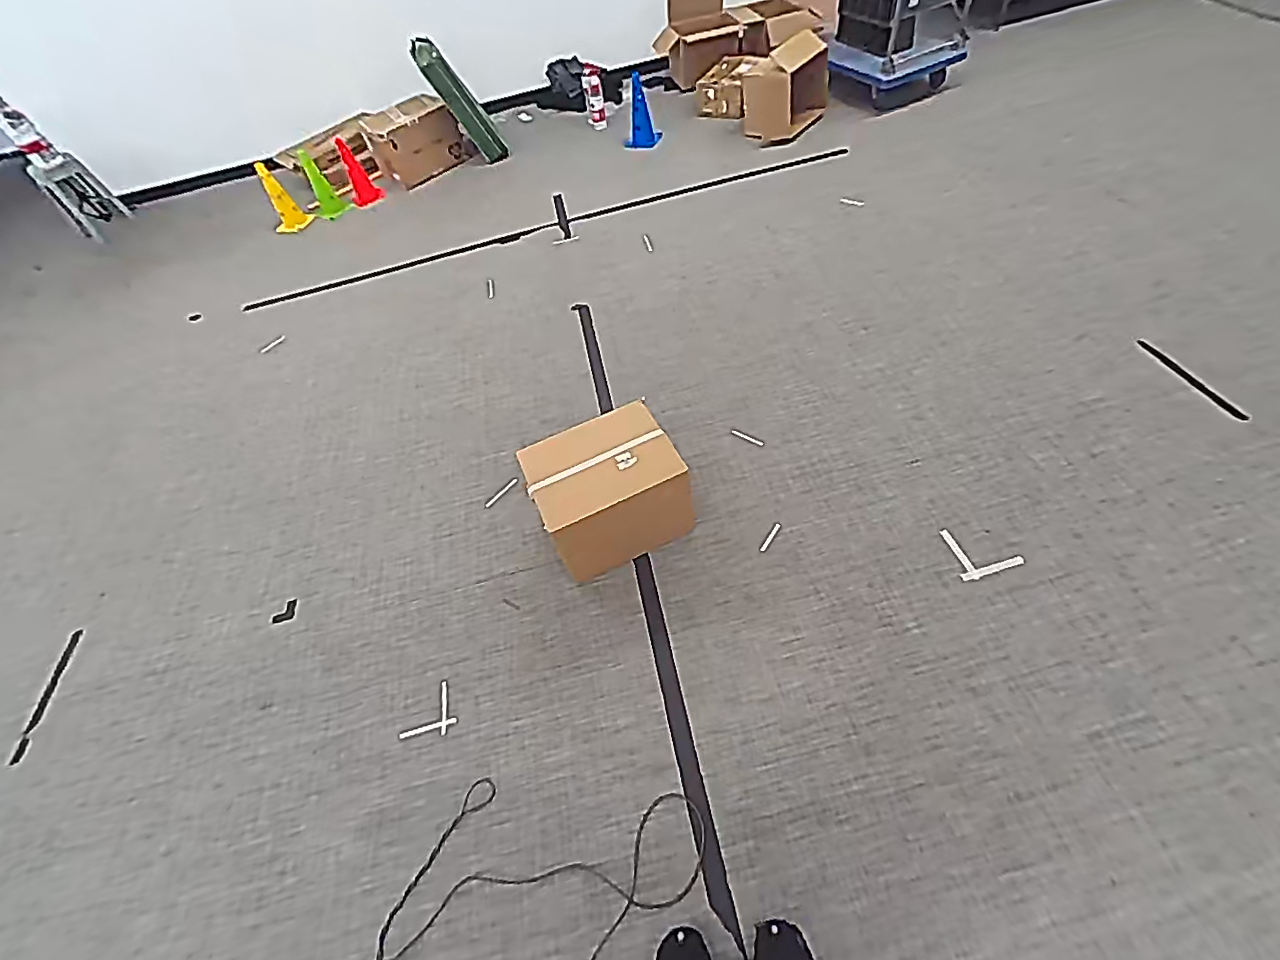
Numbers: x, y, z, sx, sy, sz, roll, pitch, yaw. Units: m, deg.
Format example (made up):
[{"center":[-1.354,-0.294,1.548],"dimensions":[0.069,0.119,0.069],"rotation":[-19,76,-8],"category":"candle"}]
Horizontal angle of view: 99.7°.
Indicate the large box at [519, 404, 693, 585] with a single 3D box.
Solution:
[{"center":[-0.092,0.045,1.609],"dimensions":[0.408,0.320,0.320],"rotation":[-24,54,-9],"category":"large box"}]
